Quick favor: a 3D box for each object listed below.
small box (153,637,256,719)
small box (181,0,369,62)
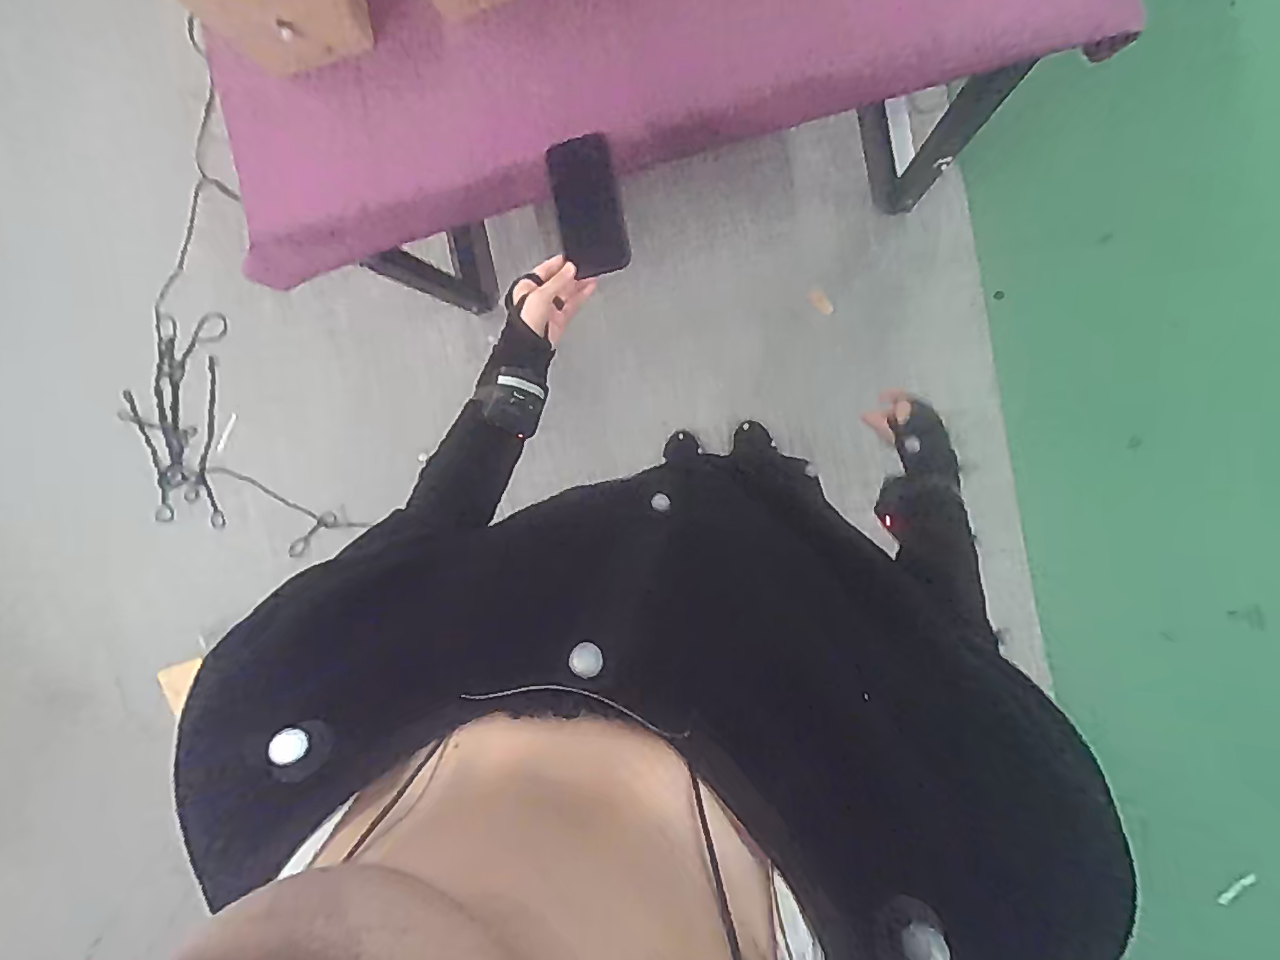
[{"bbox_3d":[-1.359,0.618,1.707,0.179,0.176,0.168,-19,93,11],"label":"small box"},{"bbox_3d":[-0.483,-0.686,0.697,0.168,0.176,0.179,-9,95,10],"label":"small box"}]
